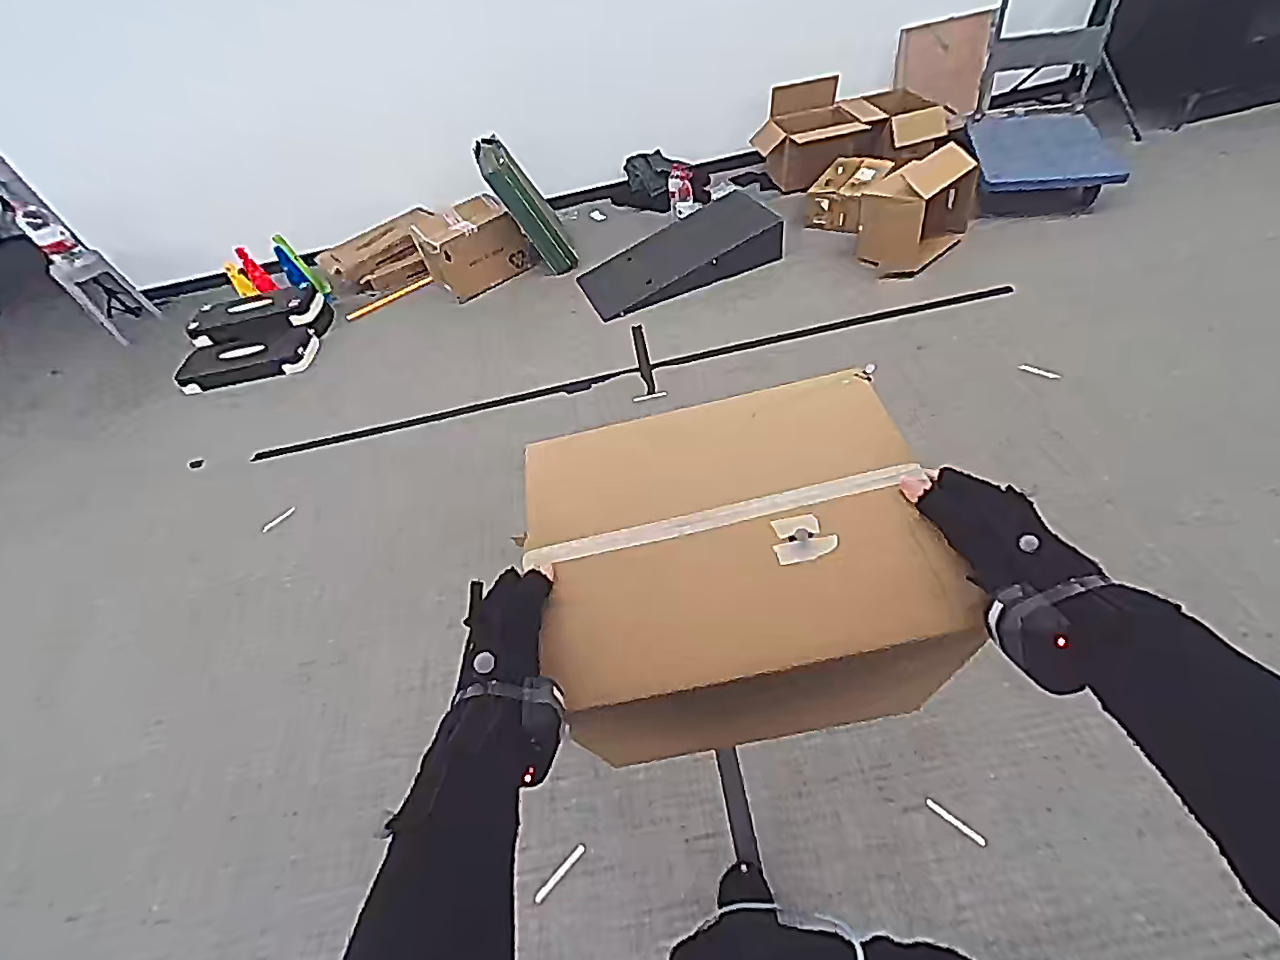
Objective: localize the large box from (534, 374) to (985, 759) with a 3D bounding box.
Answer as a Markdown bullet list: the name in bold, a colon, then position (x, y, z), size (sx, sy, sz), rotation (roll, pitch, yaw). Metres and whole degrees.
- **large box**: position (0.109, 0.123, 0.682), size (0.408, 0.320, 0.320), rotation (-13, 54, 2)
